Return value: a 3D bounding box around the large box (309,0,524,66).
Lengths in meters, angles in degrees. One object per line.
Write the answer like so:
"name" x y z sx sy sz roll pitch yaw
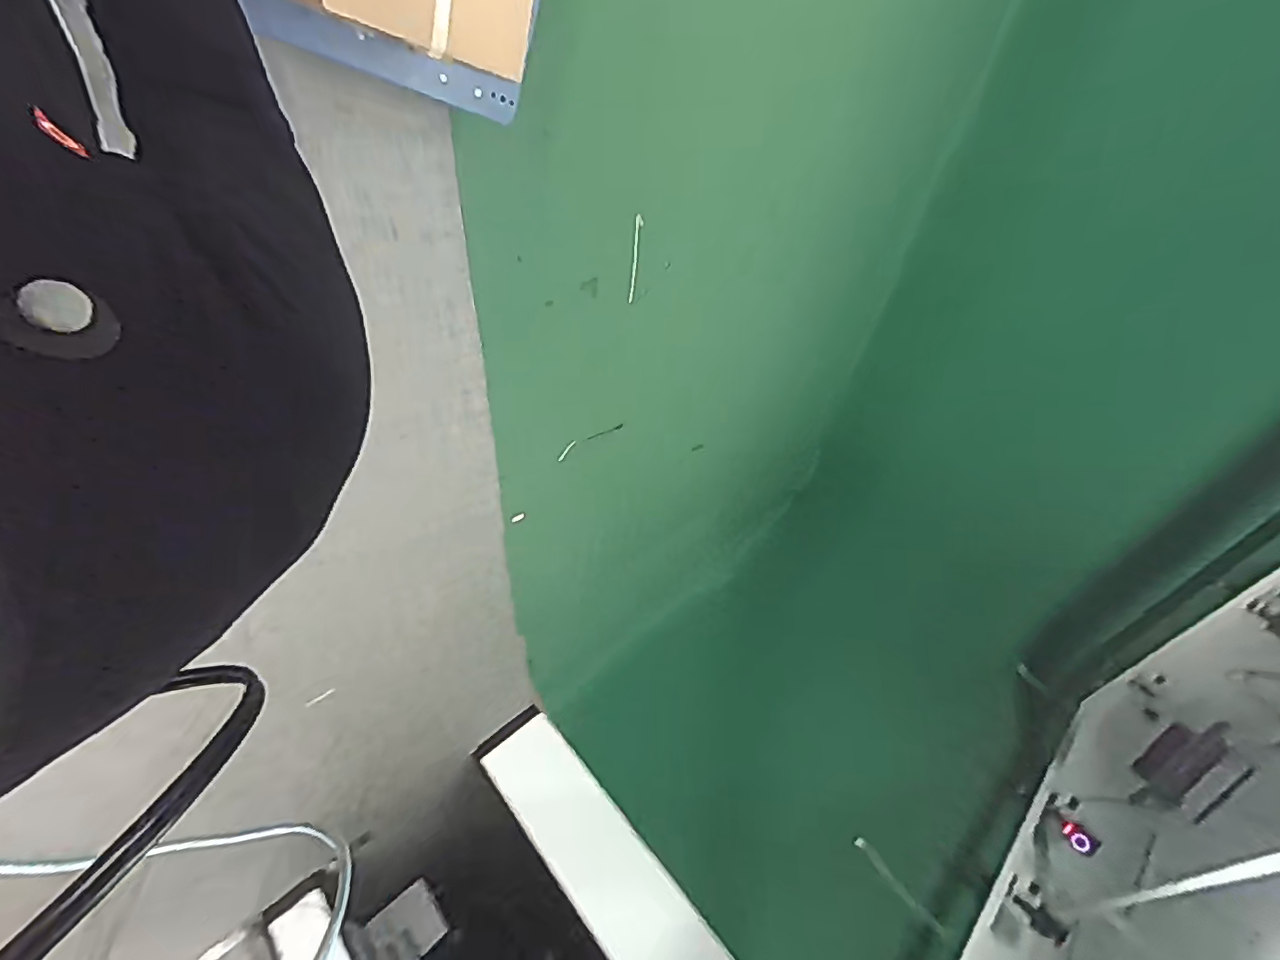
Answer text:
"large box" -0.362 -0.905 0.781 0.320 0.320 0.408 -17 136 -45
